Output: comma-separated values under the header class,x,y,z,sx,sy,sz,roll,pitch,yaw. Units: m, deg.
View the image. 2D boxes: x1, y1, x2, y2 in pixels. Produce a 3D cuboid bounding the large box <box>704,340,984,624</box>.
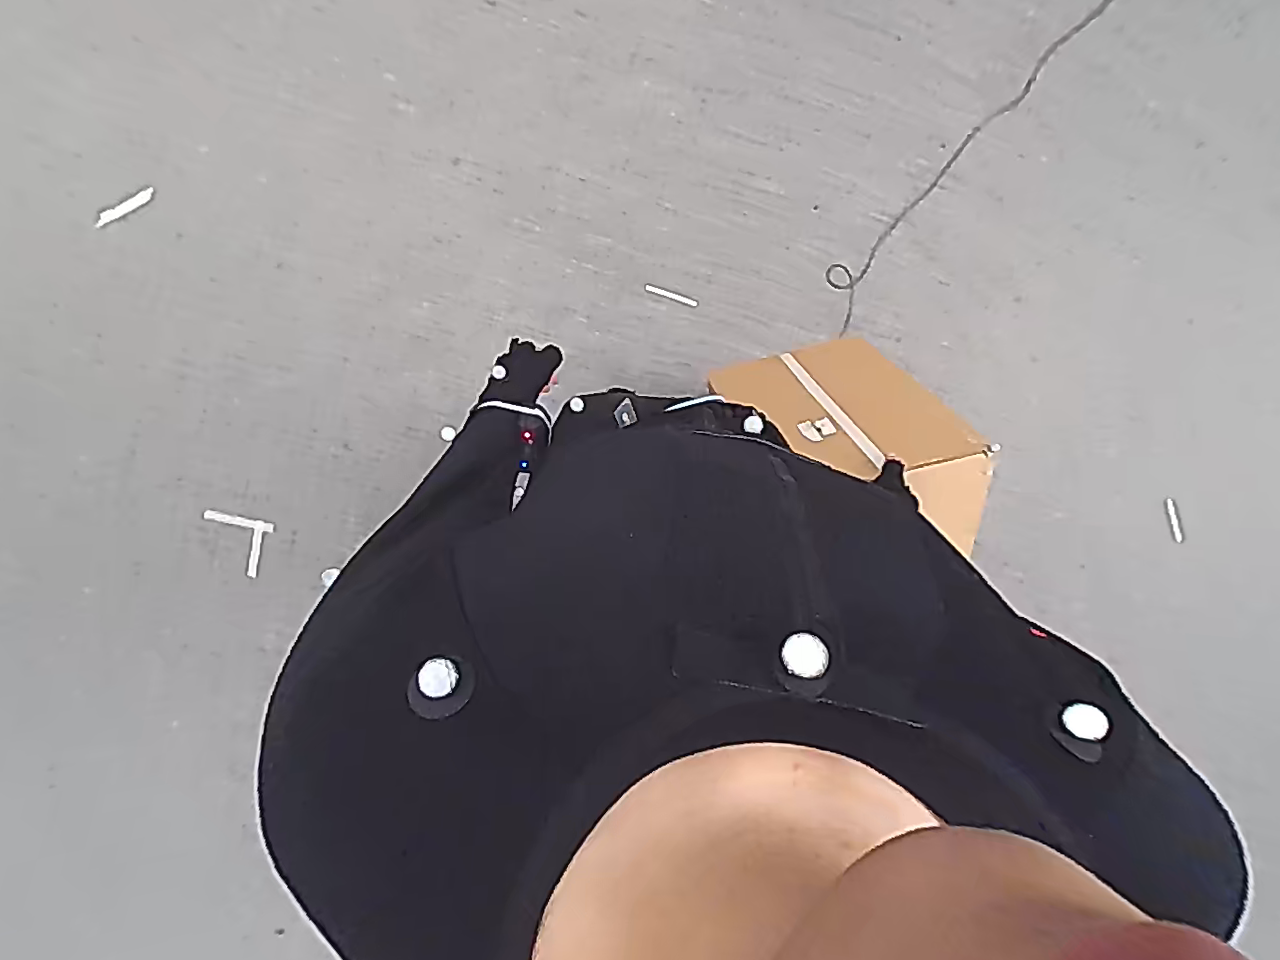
class,x,y,z,sx,sy,sz,roll,pitch,yaw
large box,0.328,-0.012,1.003,0.320,0.408,0.320,-14,129,-1
